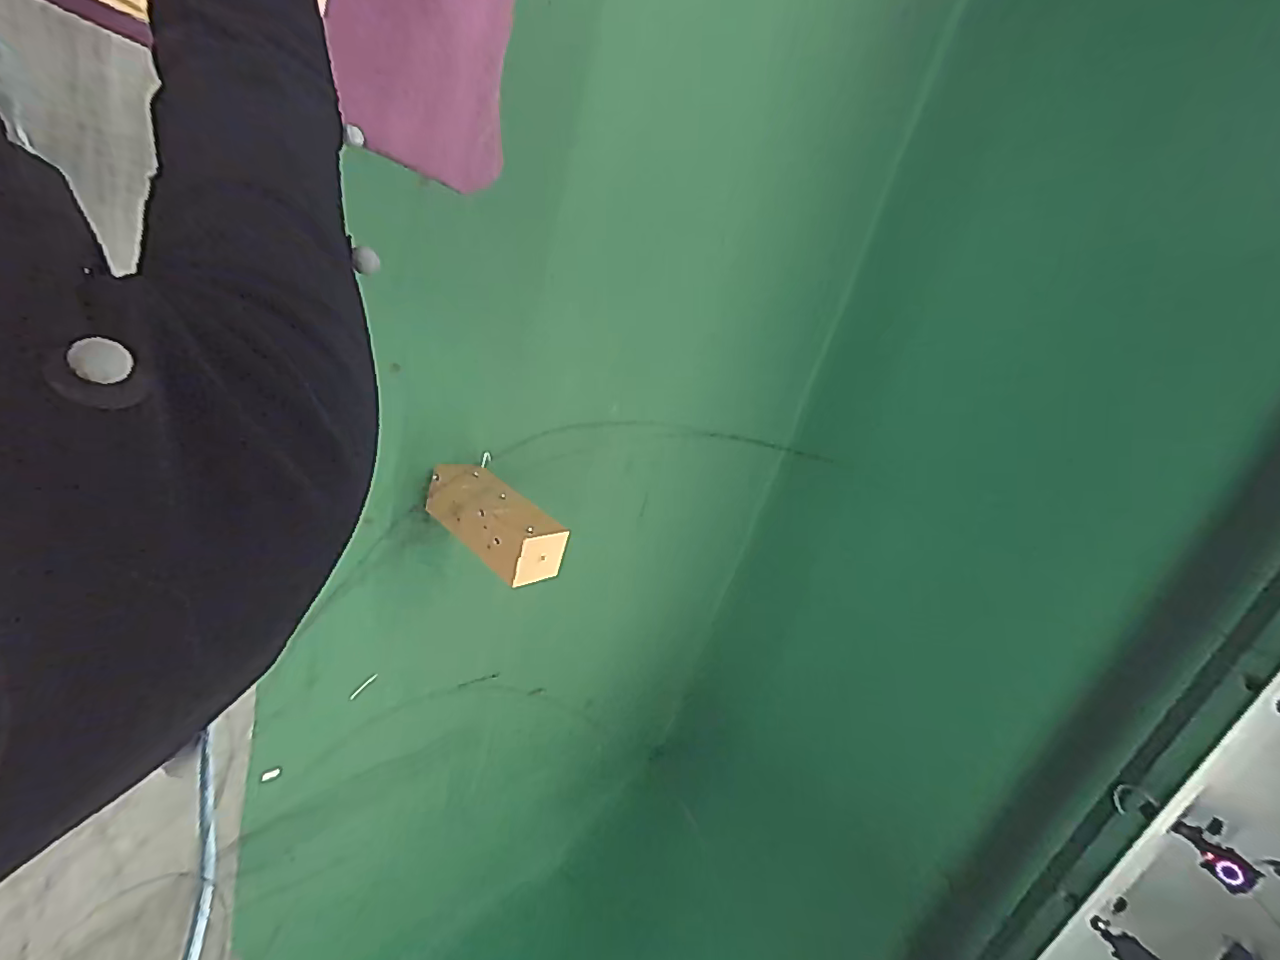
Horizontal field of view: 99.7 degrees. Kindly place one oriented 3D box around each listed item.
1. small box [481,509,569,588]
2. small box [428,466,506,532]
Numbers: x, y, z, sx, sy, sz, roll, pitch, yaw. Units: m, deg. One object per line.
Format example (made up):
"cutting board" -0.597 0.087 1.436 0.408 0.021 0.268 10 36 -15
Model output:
"small box" -0.352 0.200 1.648 0.179 0.176 0.168 -6 120 -51
"small box" -0.588 0.058 1.826 0.179 0.176 0.168 -3 118 -52
